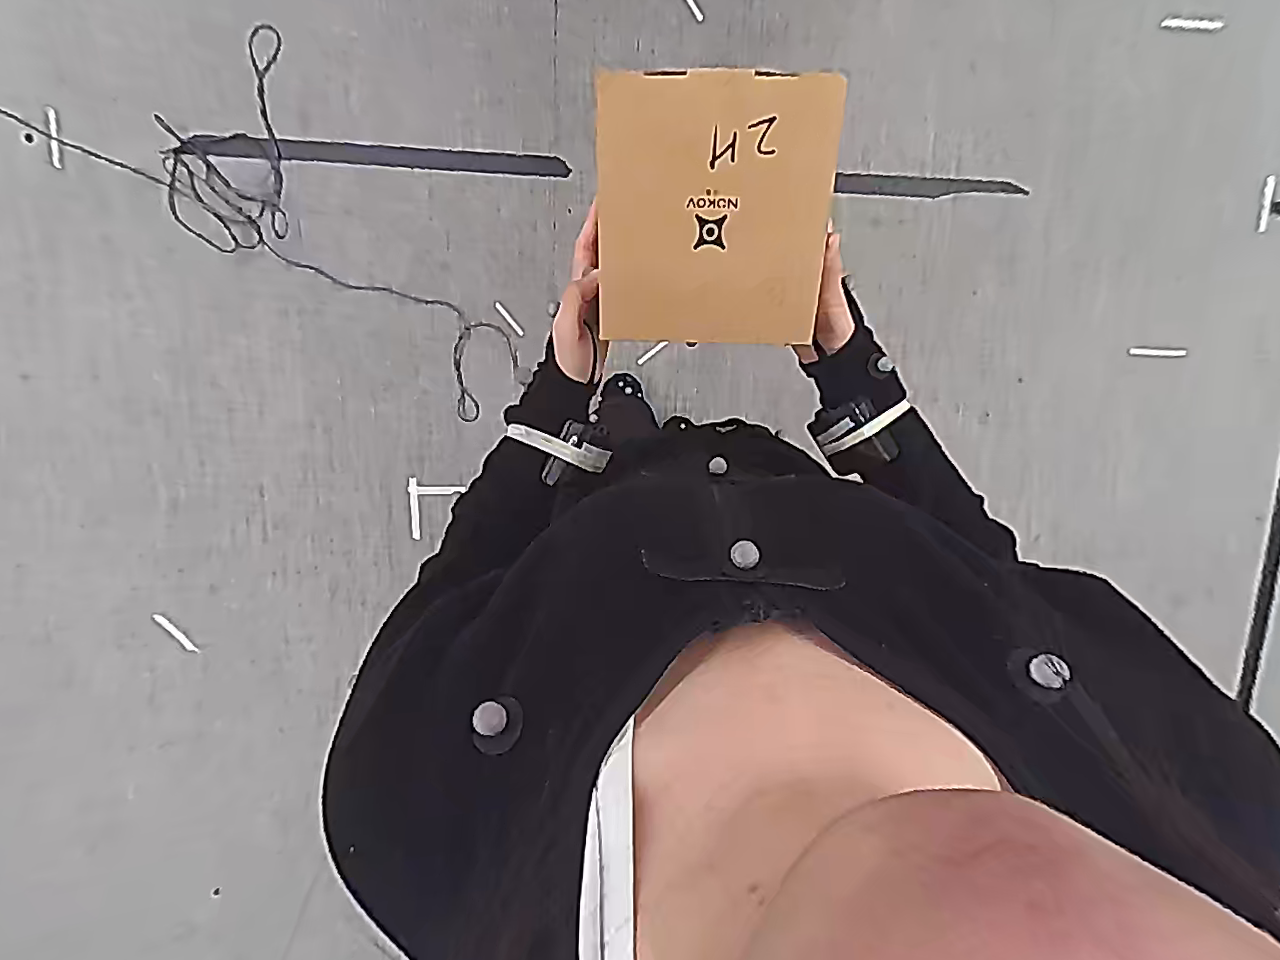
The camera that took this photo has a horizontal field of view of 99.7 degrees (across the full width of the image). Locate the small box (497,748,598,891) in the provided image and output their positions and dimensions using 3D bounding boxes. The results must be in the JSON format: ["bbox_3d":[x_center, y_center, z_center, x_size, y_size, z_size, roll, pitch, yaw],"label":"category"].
[{"bbox_3d":[-0.170,0.640,1.037,0.168,0.176,0.179,-1,98,0],"label":"small box"}]

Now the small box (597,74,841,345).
[{"bbox_3d":[0.054,-0.219,0.465,0.168,0.176,0.179,2,112,1],"label":"small box"}]

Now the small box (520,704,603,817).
[{"bbox_3d":[-0.168,0.624,1.199,0.168,0.176,0.179,1,97,-1],"label":"small box"}]
